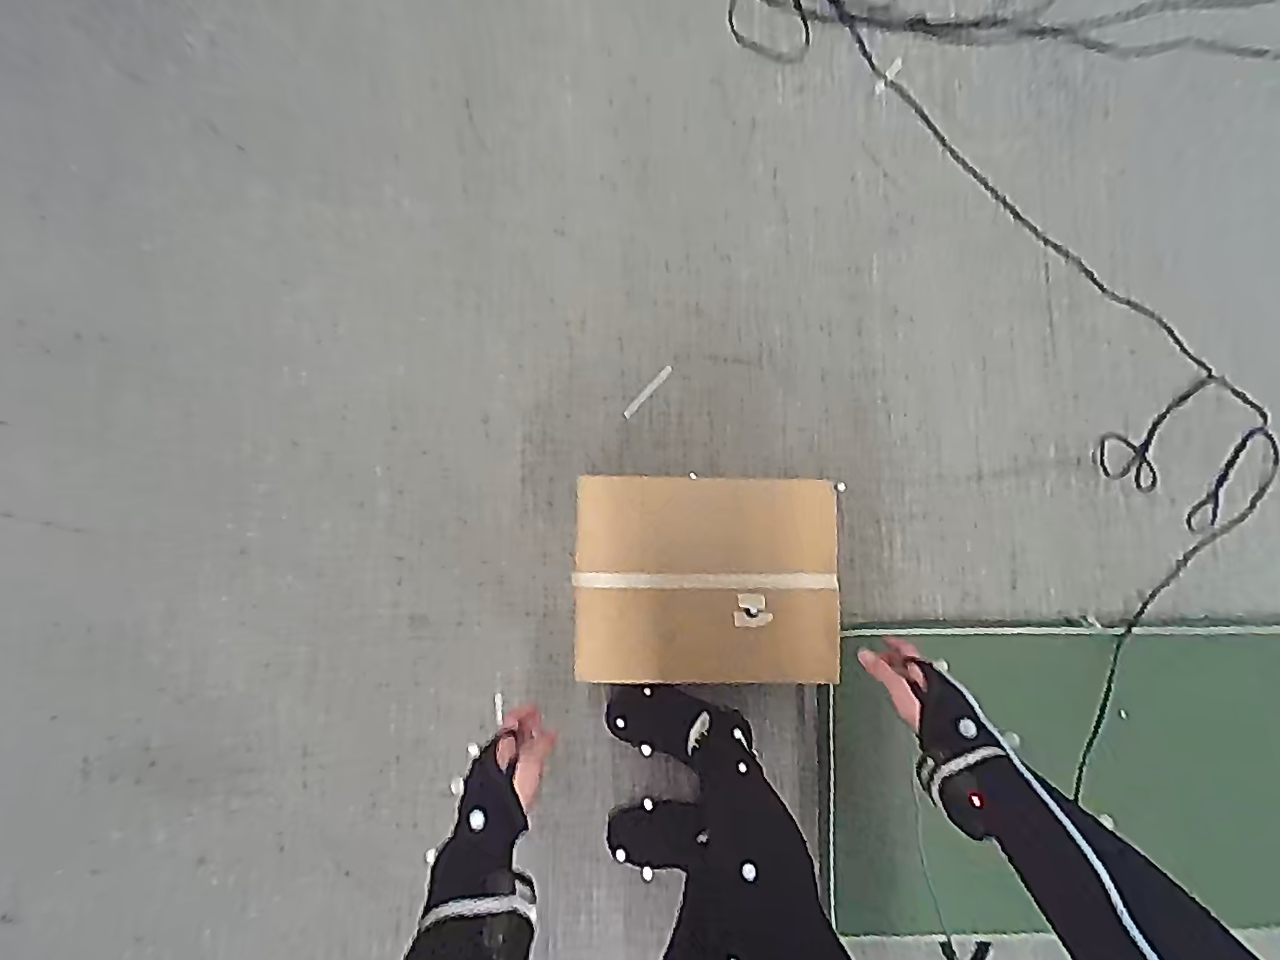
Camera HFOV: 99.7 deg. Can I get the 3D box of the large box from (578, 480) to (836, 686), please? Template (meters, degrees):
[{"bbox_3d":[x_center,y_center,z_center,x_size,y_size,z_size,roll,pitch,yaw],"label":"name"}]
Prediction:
[{"bbox_3d":[0.095,0.169,0.982,0.408,0.320,0.320,1,86,-3],"label":"large box"}]
